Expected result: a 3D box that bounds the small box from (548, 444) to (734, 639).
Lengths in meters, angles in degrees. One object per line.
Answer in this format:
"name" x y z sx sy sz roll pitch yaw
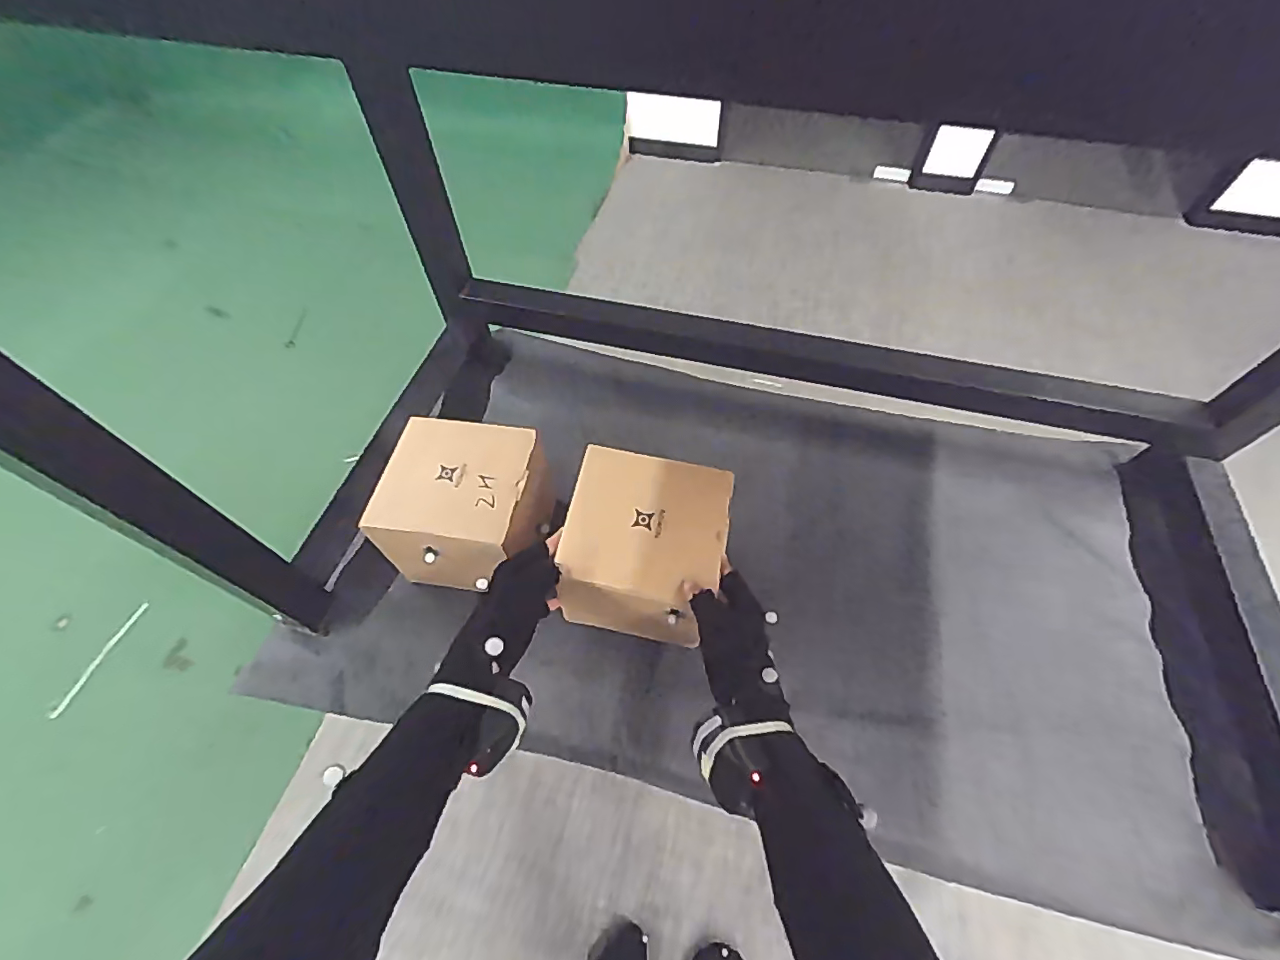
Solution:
"small box" 0.004 0.082 0.652 0.179 0.176 0.168 11 62 4
